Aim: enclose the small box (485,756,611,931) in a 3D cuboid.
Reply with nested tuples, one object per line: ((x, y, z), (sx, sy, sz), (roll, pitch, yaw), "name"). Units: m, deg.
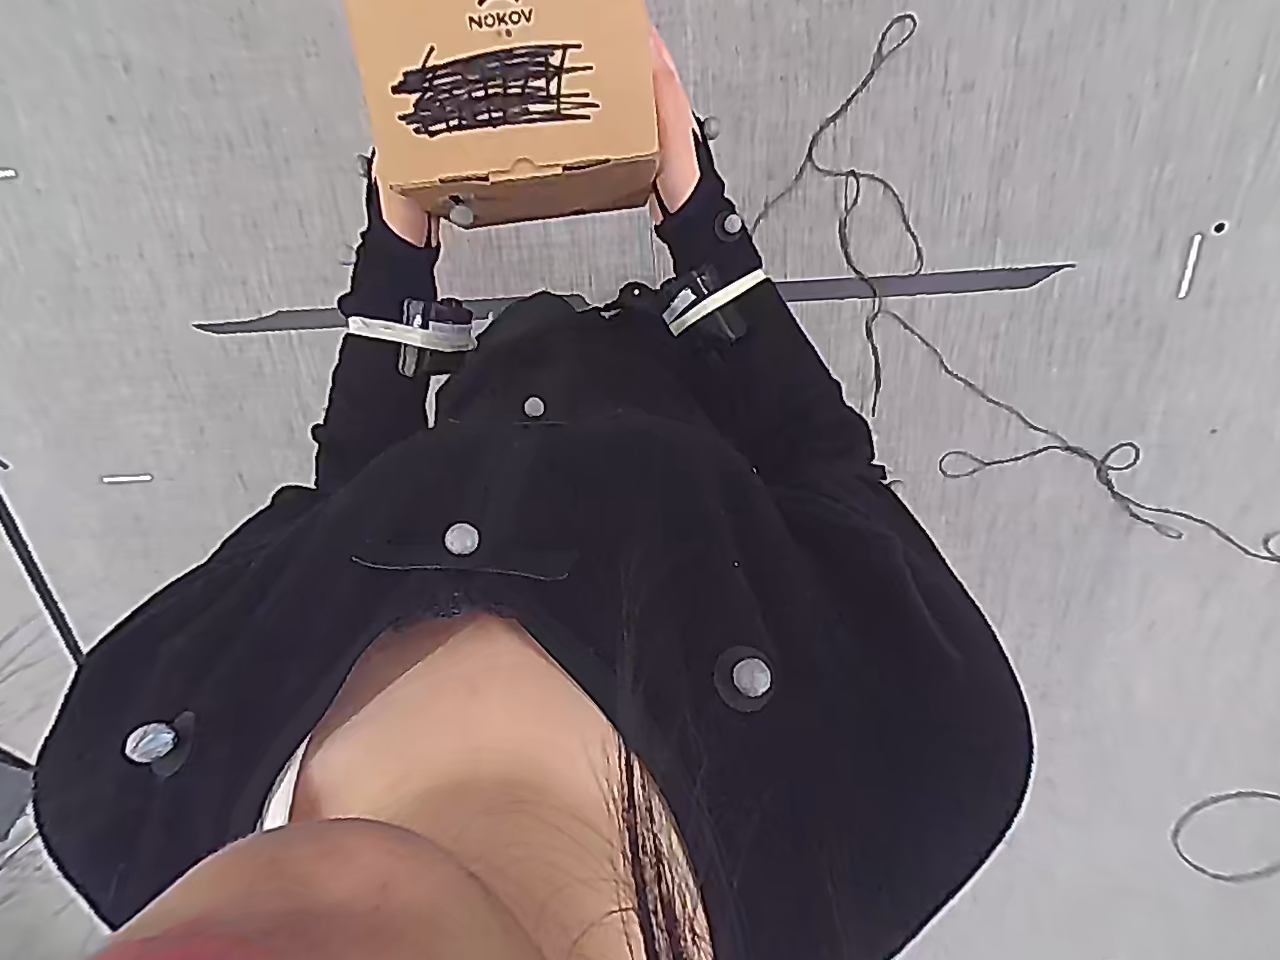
((-0.138, 0.584, 0.878), (0.168, 0.176, 0.179), (-1, 110, 2), "small box")
